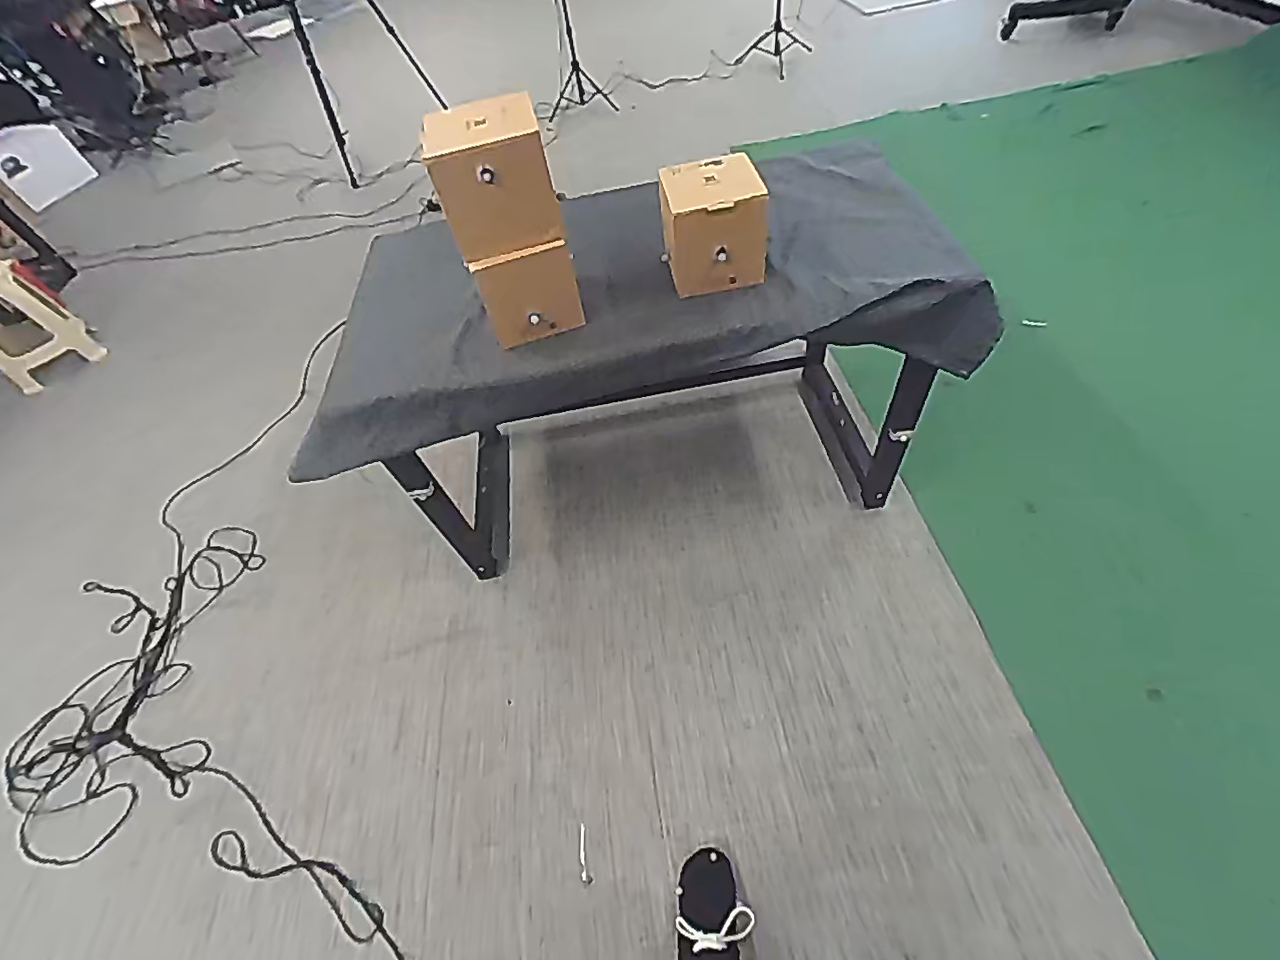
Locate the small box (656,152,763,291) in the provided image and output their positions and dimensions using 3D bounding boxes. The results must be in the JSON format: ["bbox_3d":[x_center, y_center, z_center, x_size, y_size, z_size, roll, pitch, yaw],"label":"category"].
[{"bbox_3d":[0.129,-0.476,1.015,0.168,0.176,0.179,-10,53,2],"label":"small box"}]

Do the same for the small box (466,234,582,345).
[{"bbox_3d":[-0.217,-0.381,0.999,0.168,0.176,0.179,-19,54,-5],"label":"small box"}]

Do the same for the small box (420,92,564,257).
[{"bbox_3d":[-0.236,-0.489,0.878,0.179,0.176,0.168,-15,54,-3],"label":"small box"}]
